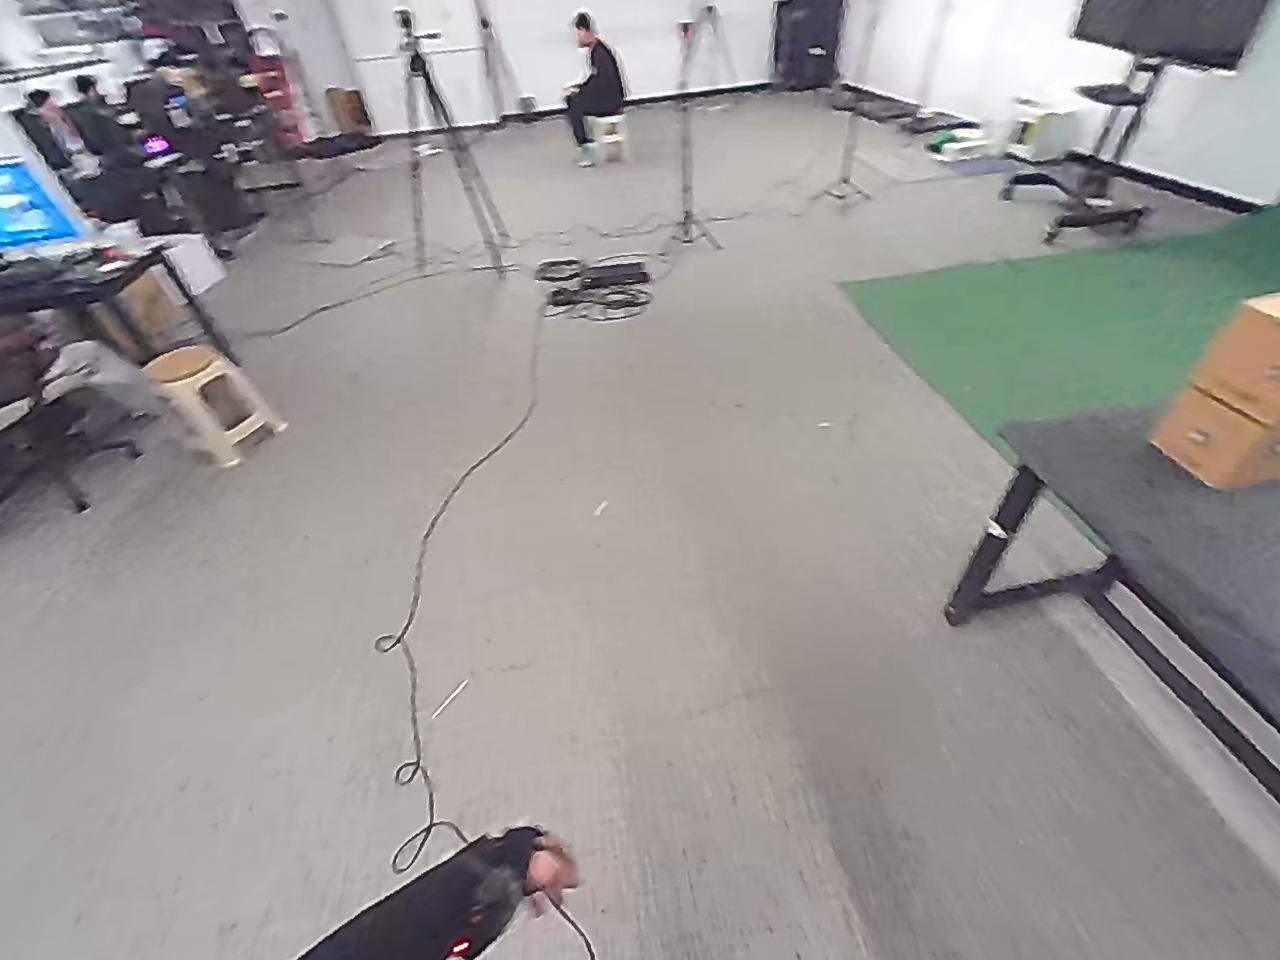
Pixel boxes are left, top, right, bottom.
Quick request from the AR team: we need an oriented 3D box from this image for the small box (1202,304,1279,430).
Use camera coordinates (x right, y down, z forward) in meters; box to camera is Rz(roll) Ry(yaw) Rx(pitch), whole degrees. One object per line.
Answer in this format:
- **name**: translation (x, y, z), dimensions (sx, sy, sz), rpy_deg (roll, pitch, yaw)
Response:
- **small box**: translation (1.193, -0.207, 0.978), dimensions (0.179, 0.176, 0.168), rpy_deg (-10, 44, -5)

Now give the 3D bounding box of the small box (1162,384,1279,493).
- **small box**: translation (1.220, -0.091, 1.089), dimensions (0.179, 0.176, 0.168), rpy_deg (-9, 43, -3)
